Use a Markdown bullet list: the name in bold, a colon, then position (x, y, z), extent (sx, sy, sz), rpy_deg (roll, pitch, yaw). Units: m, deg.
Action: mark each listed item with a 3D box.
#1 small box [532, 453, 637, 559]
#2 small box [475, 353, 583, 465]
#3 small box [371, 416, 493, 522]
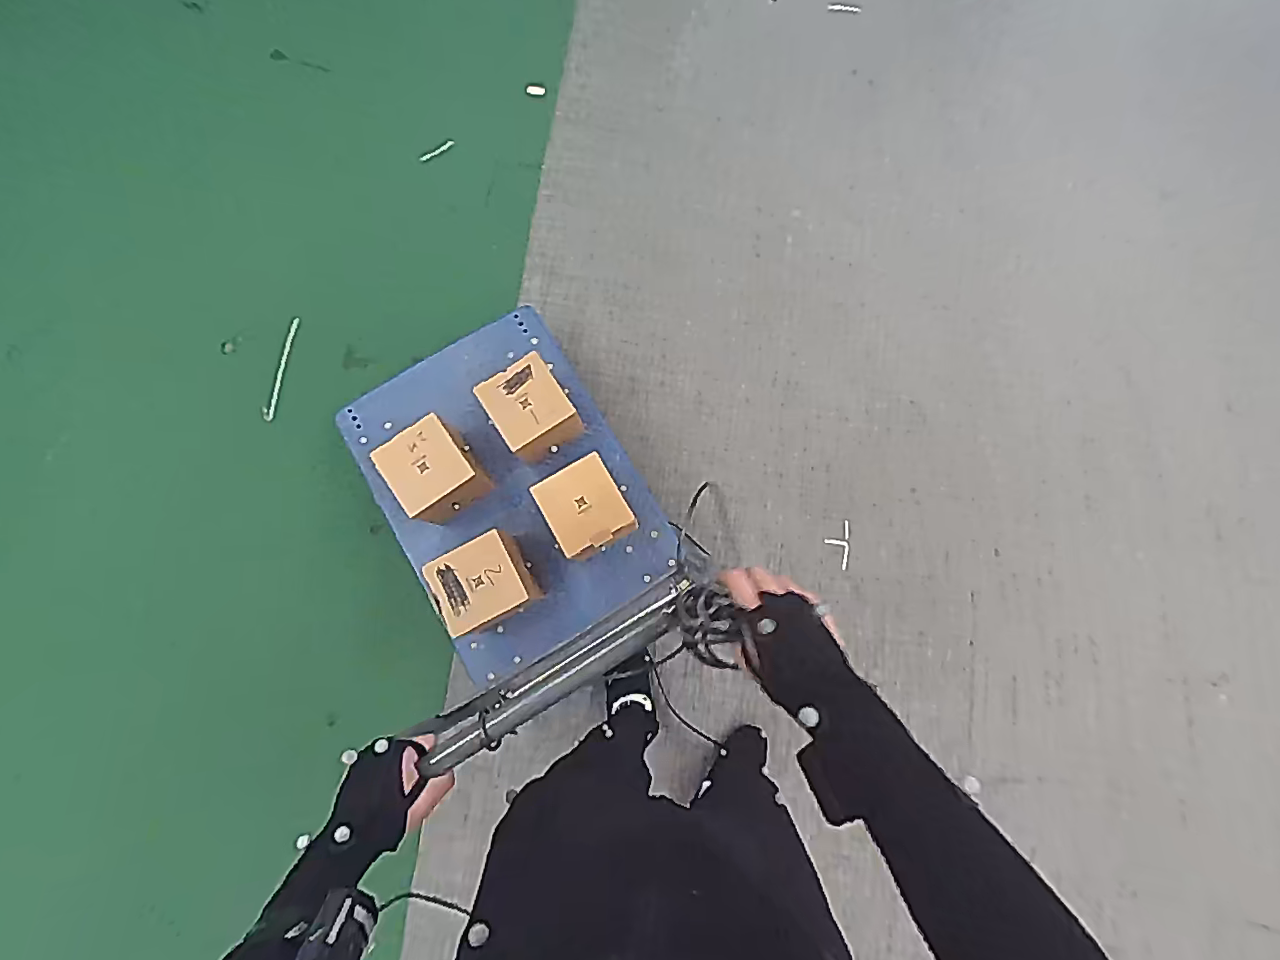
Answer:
- **small box**: position (-0.120, 0.067, 1.217), extent (0.168, 0.176, 0.179), rpy_deg (-30, 81, -5)
- **small box**: position (-0.251, -0.157, 1.258), extent (0.168, 0.176, 0.179), rpy_deg (-34, 82, -4)
- **small box**: position (-0.464, -0.015, 1.236), extent (0.168, 0.176, 0.179), rpy_deg (-35, 81, -6)
